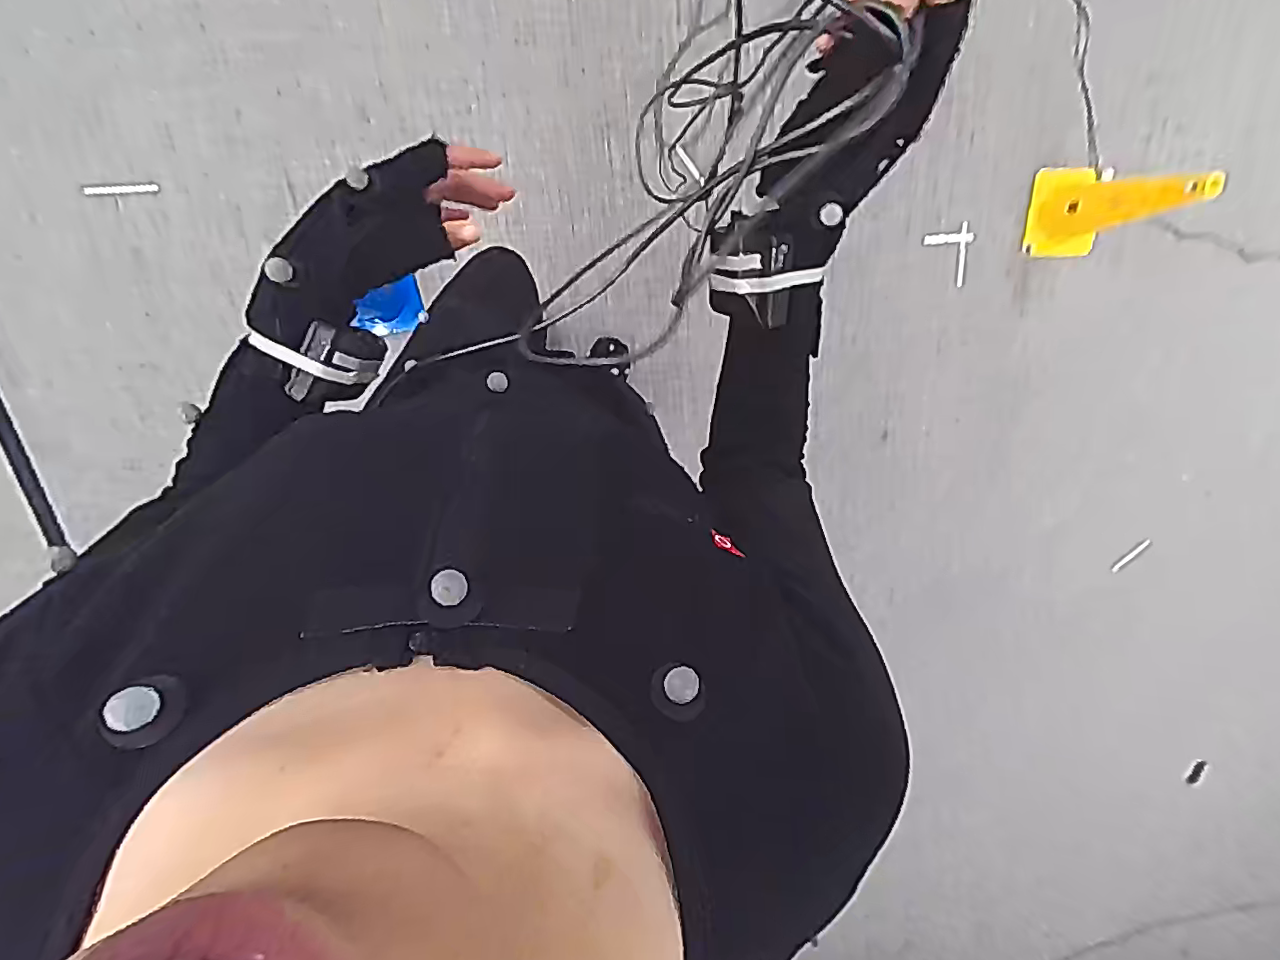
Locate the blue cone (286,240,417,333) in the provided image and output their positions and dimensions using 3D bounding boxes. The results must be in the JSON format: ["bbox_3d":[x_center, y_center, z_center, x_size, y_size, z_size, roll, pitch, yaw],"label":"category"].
[{"bbox_3d":[-0.621,-0.404,1.126,0.193,0.380,0.192,-10,109,-3],"label":"blue cone"}]
